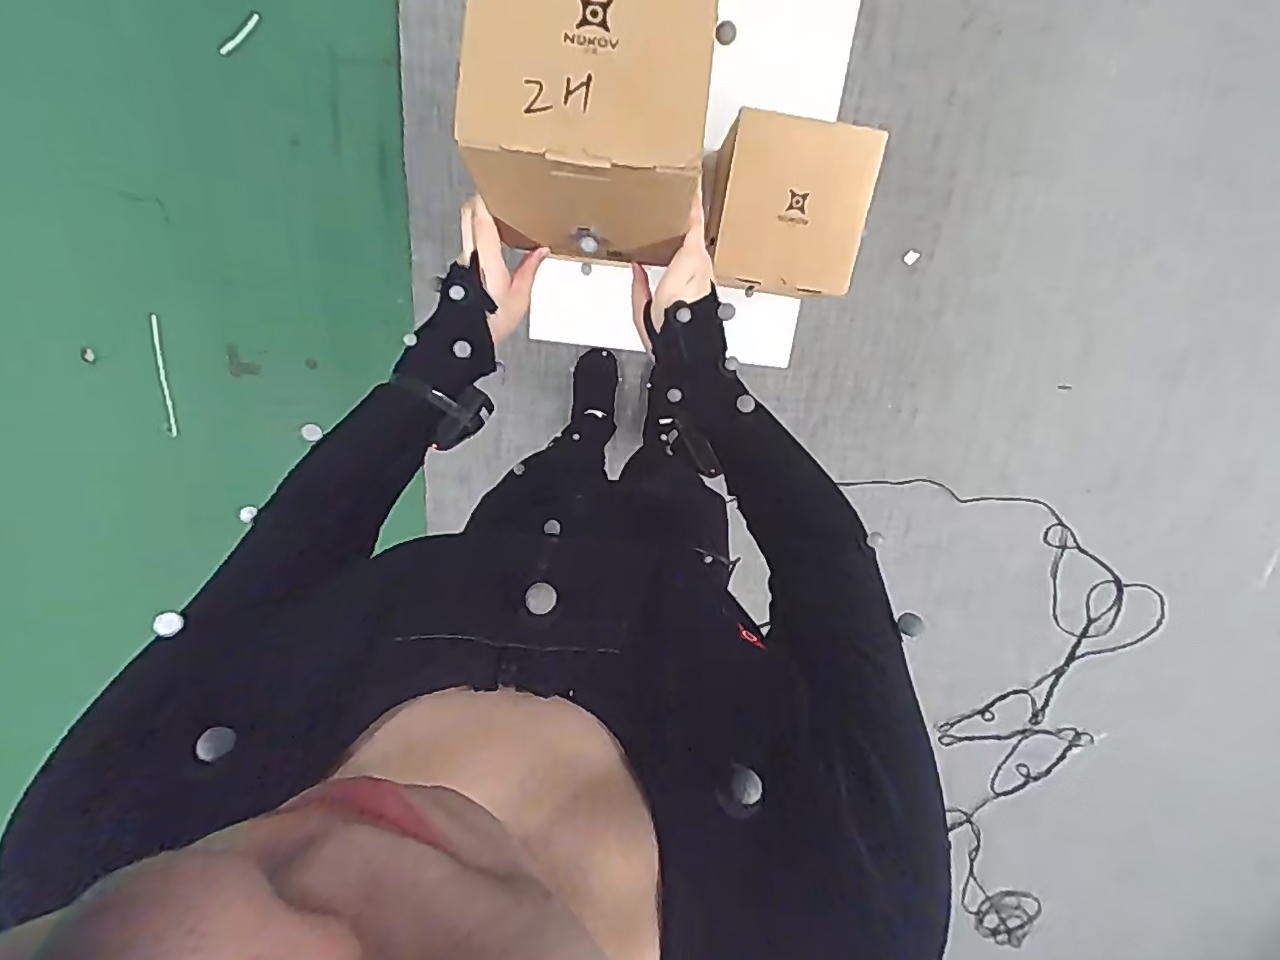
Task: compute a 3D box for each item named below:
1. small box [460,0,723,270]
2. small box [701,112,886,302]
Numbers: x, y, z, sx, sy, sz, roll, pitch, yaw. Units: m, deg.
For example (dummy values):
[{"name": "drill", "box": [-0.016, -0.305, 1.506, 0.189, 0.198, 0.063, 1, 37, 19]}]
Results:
[{"name": "small box", "box": [-0.032, -0.298, 0.442, 0.168, 0.176, 0.179, 7, 91, -1]}, {"name": "small box", "box": [0.177, -0.329, 0.686, 0.168, 0.176, 0.179, 8, 109, -3]}]
